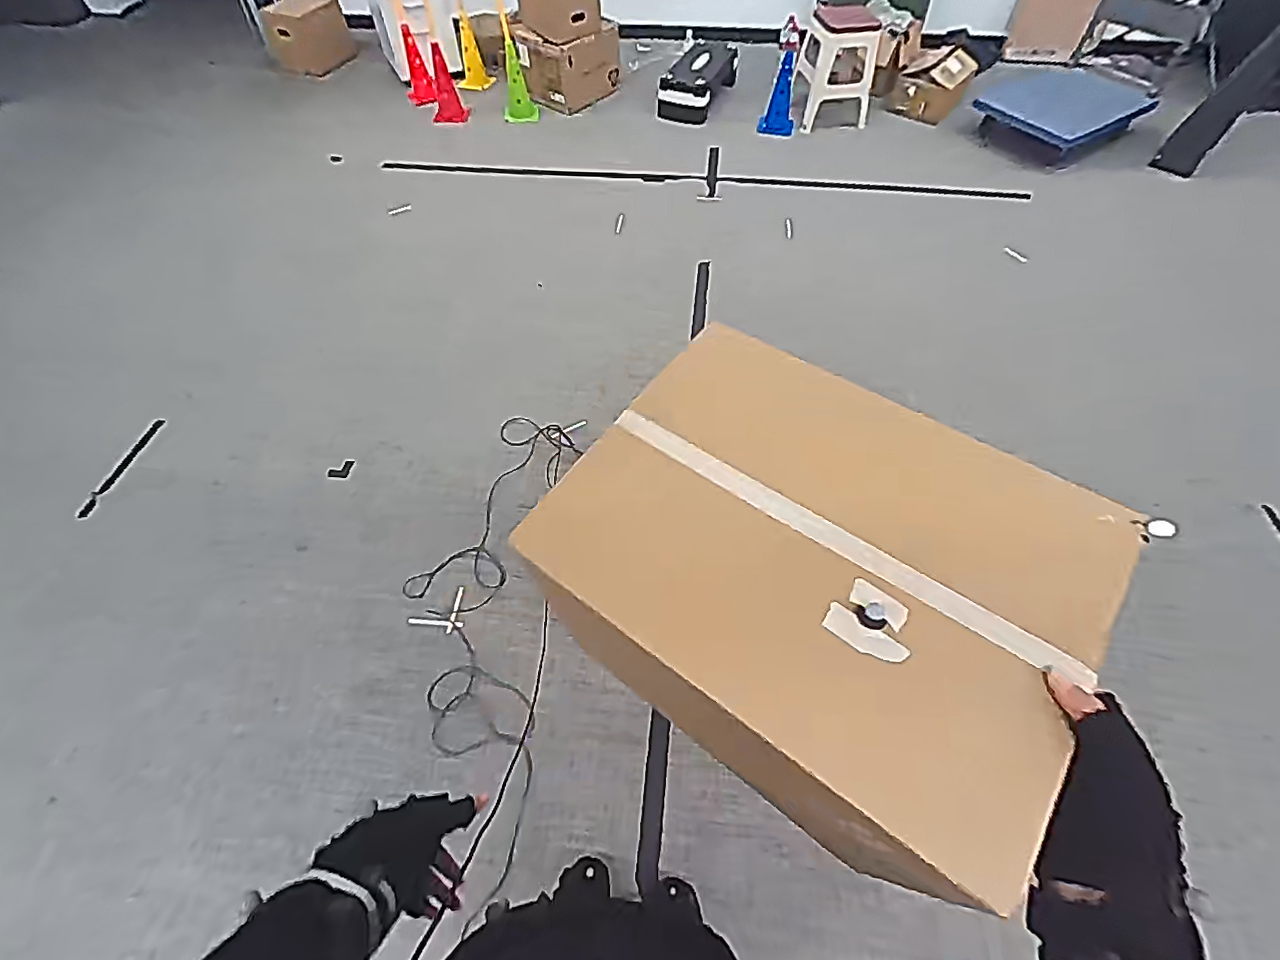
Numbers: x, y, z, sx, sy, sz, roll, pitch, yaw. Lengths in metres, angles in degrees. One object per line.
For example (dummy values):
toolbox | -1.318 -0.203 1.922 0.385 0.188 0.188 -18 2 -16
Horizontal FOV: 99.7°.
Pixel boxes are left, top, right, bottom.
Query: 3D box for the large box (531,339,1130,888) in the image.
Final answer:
large box | 0.159 0.124 0.578 0.408 0.320 0.320 33 67 22
